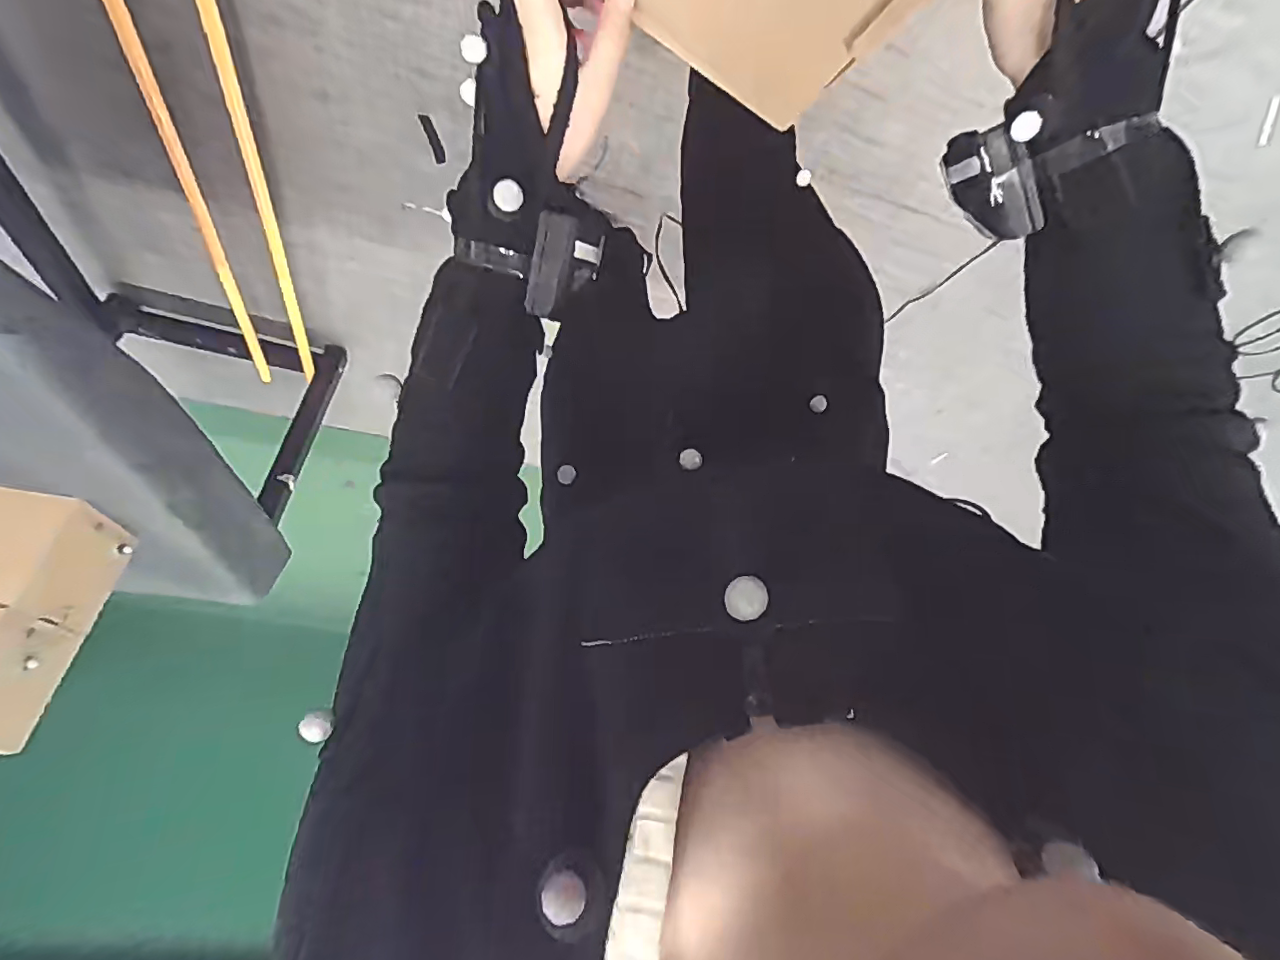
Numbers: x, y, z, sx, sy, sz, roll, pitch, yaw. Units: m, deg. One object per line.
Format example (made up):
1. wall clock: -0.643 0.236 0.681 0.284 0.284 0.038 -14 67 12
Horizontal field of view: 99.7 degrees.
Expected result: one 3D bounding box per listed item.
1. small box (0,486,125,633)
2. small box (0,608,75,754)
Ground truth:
1. small box: -0.927 0.117 0.801 0.179 0.176 0.168 11 149 -10
2. small box: -0.939 0.258 0.718 0.179 0.176 0.168 9 150 -9
